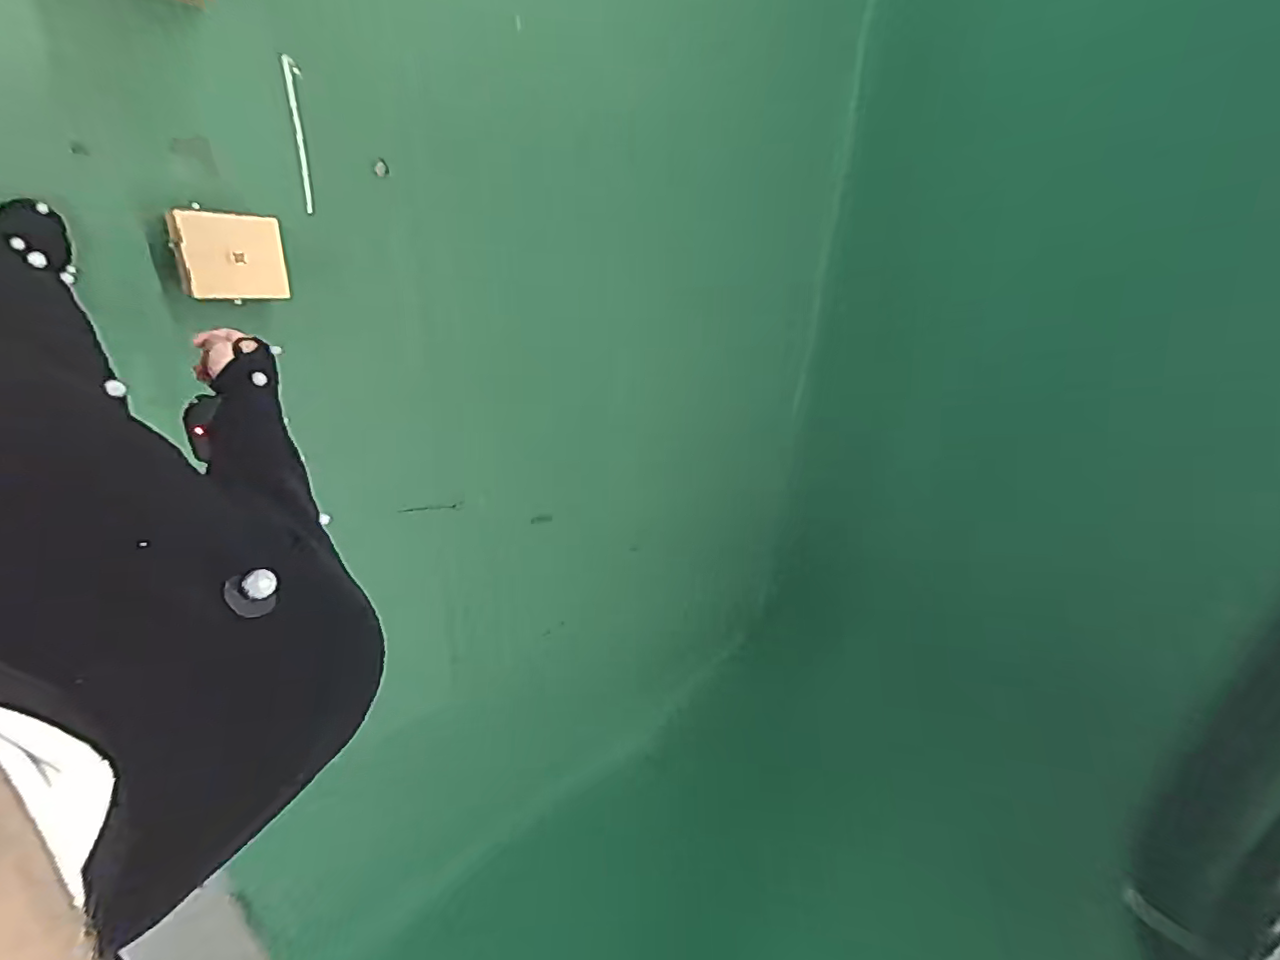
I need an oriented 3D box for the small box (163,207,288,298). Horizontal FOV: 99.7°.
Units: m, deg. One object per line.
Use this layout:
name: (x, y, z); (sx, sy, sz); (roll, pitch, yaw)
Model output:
small box: (-0.900, -0.494, 1.178); (0.179, 0.176, 0.168); (-16, 121, -40)
